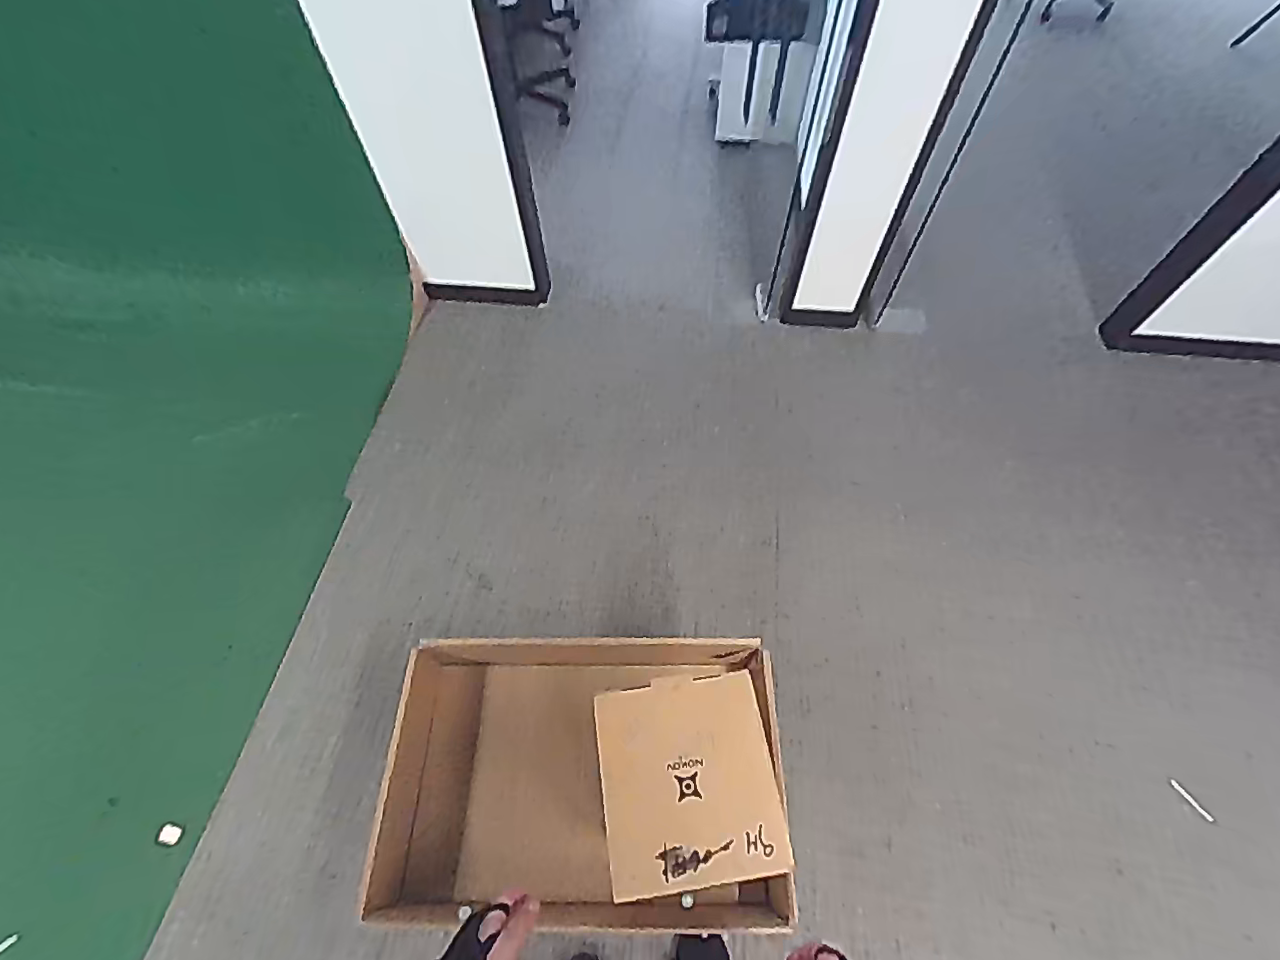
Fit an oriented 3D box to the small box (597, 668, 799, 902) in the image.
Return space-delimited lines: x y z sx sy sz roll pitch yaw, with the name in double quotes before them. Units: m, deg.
"small box" 0.047 0.315 0.572 0.168 0.176 0.179 -7 60 -3
